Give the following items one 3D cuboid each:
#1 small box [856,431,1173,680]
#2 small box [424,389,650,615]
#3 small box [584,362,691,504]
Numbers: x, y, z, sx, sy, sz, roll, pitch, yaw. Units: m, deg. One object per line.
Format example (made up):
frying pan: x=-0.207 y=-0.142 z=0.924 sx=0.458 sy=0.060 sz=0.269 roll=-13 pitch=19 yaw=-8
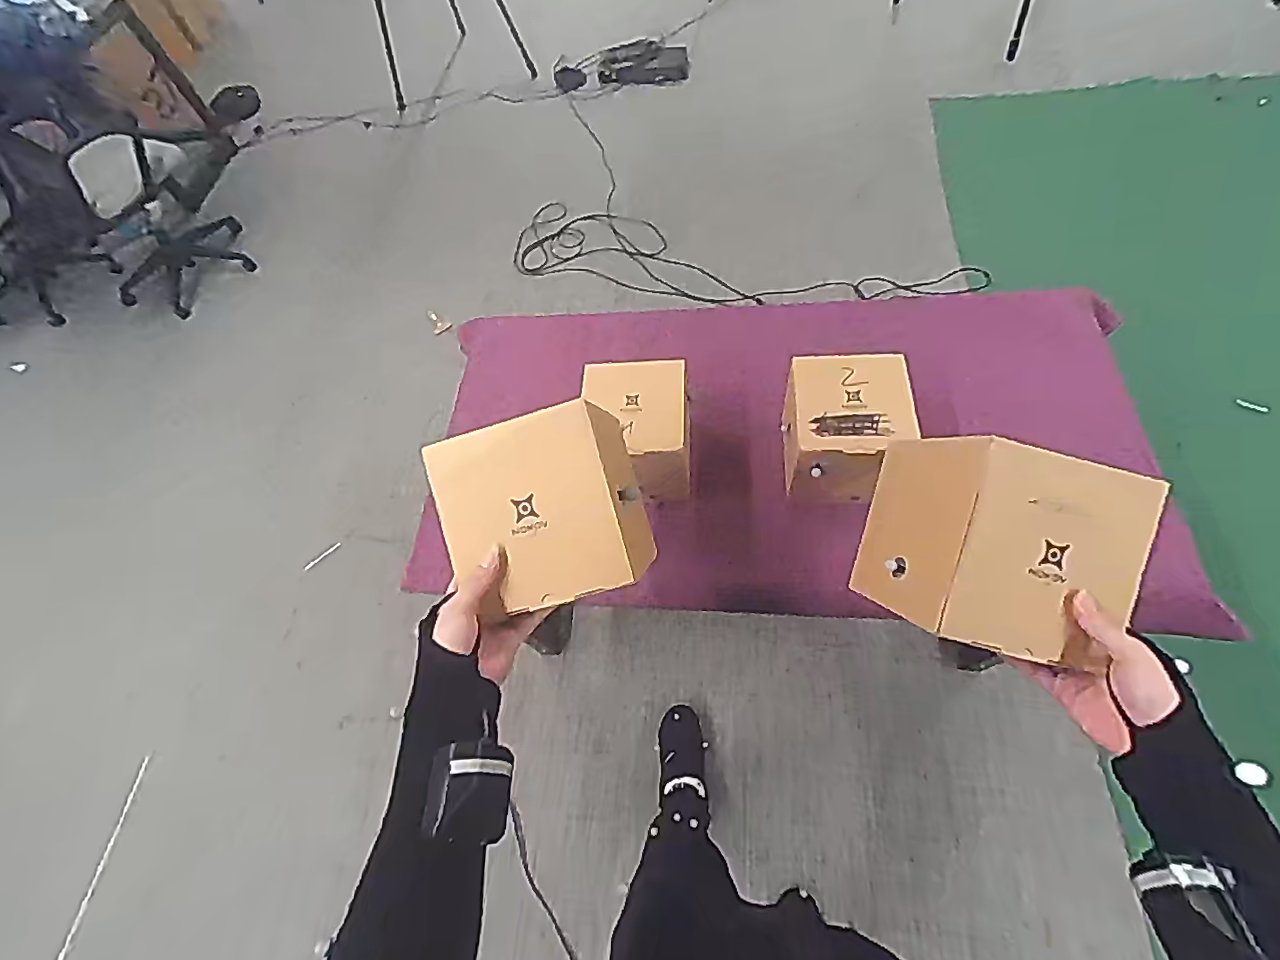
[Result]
small box: x=0.336 y=0.060 z=0.525 sx=0.168 sy=0.176 sz=0.179 roll=15 pitch=92 yaw=-4
small box: x=-0.093 y=0.021 z=0.567 sx=0.168 sy=0.176 sz=0.179 roll=-15 pitch=89 yaw=7
small box: x=-0.002 y=-0.075 z=0.899 sx=0.168 sy=0.176 sz=0.179 roll=-1 pitch=62 yaw=8
